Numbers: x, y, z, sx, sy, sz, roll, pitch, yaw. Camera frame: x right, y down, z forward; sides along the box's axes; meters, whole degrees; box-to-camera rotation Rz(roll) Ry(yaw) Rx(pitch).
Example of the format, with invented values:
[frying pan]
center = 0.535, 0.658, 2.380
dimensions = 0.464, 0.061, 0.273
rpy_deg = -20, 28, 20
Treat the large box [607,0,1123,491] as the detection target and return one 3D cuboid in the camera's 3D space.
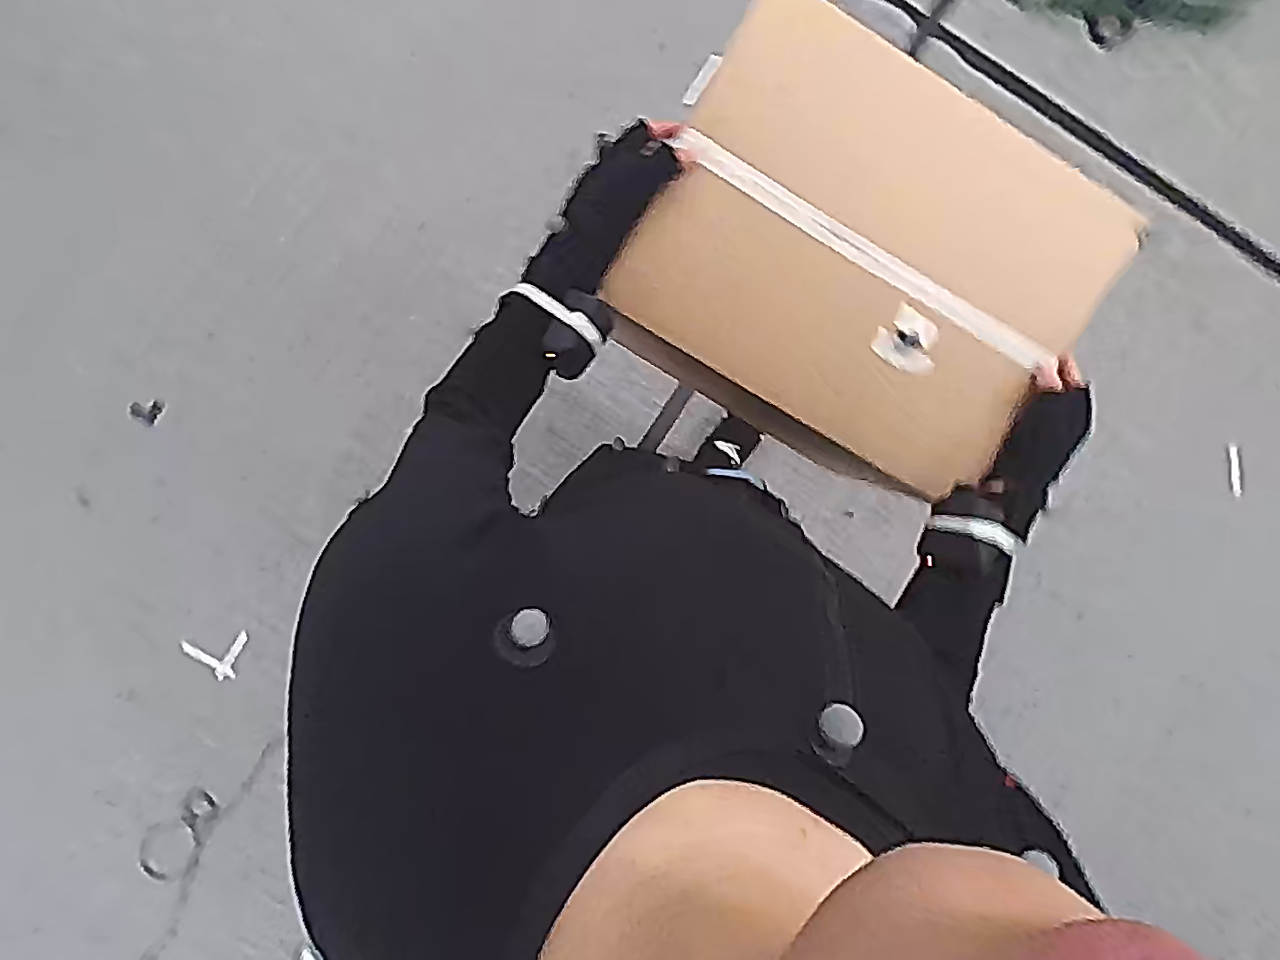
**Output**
[large box]
center = 0.204, -0.232, 0.651
dimensions = 0.408, 0.320, 0.320
rpy_deg = 29, 97, -6
